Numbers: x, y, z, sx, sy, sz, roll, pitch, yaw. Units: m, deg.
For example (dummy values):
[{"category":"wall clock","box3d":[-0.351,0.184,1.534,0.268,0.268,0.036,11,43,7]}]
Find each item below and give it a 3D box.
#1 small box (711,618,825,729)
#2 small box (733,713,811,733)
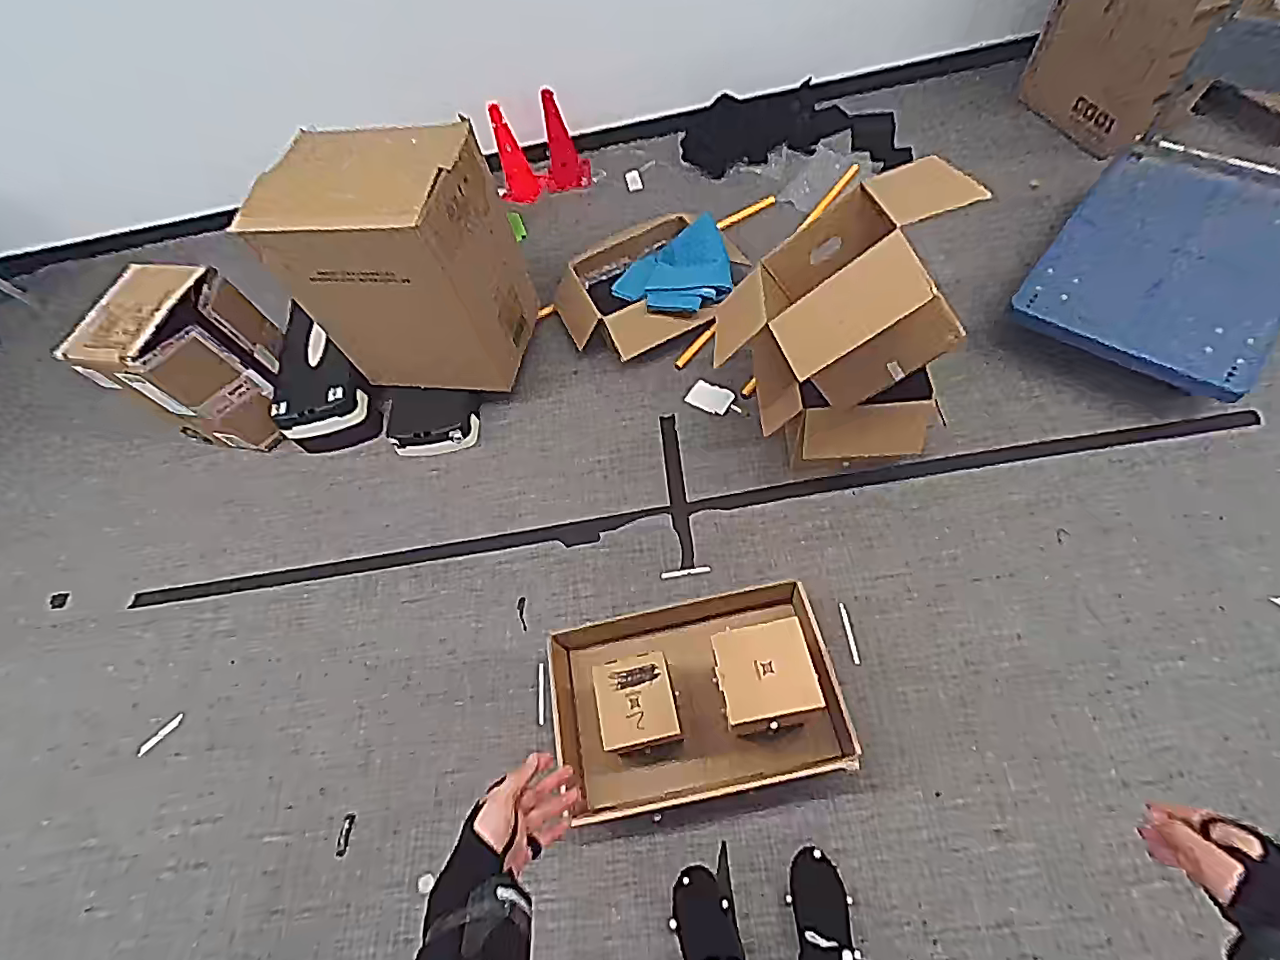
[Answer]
[{"category":"small box","box3d":[0.244,0.387,1.070,0.179,0.176,0.168,-13,60,4]},{"category":"small box","box3d":[0.272,0.461,1.212,0.168,0.176,0.179,-12,59,3]}]
